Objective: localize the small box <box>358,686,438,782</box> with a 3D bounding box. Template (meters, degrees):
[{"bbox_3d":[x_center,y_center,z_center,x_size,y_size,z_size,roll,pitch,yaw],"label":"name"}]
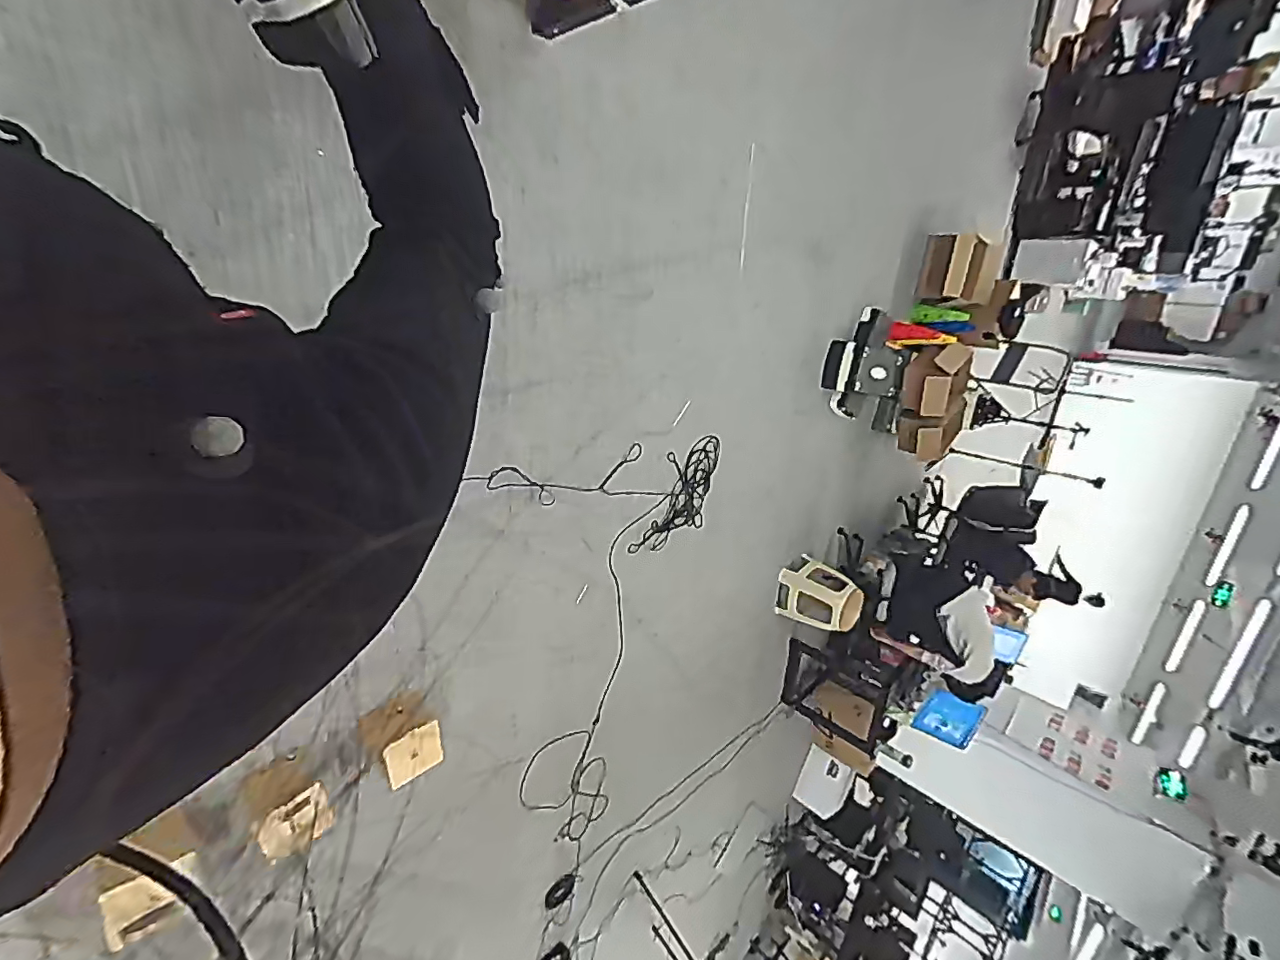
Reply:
[{"bbox_3d":[-0.759,0.788,1.696,0.168,0.176,0.179,-20,120,-42],"label":"small box"}]

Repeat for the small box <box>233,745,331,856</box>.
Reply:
[{"bbox_3d":[-0.982,0.863,1.482,0.168,0.176,0.179,-24,124,-39],"label":"small box"}]
